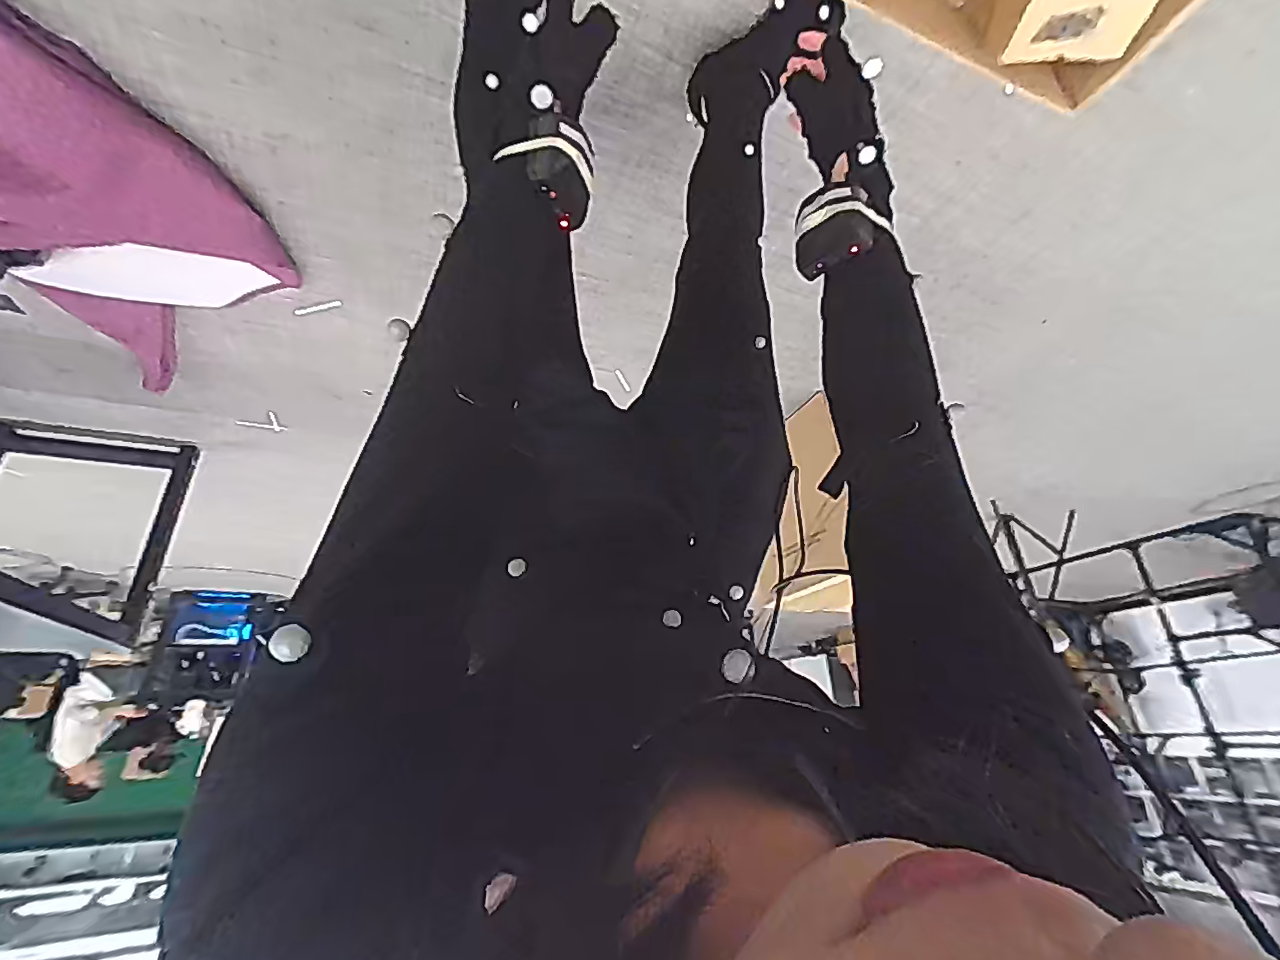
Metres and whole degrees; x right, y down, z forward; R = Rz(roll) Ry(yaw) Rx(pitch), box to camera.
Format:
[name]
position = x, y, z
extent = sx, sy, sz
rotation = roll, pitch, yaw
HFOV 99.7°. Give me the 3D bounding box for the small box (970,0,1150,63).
[small box]
position = 0.562, -0.685, 0.701
extent = 0.168, 0.176, 0.179
rotation = -2, 154, 0
